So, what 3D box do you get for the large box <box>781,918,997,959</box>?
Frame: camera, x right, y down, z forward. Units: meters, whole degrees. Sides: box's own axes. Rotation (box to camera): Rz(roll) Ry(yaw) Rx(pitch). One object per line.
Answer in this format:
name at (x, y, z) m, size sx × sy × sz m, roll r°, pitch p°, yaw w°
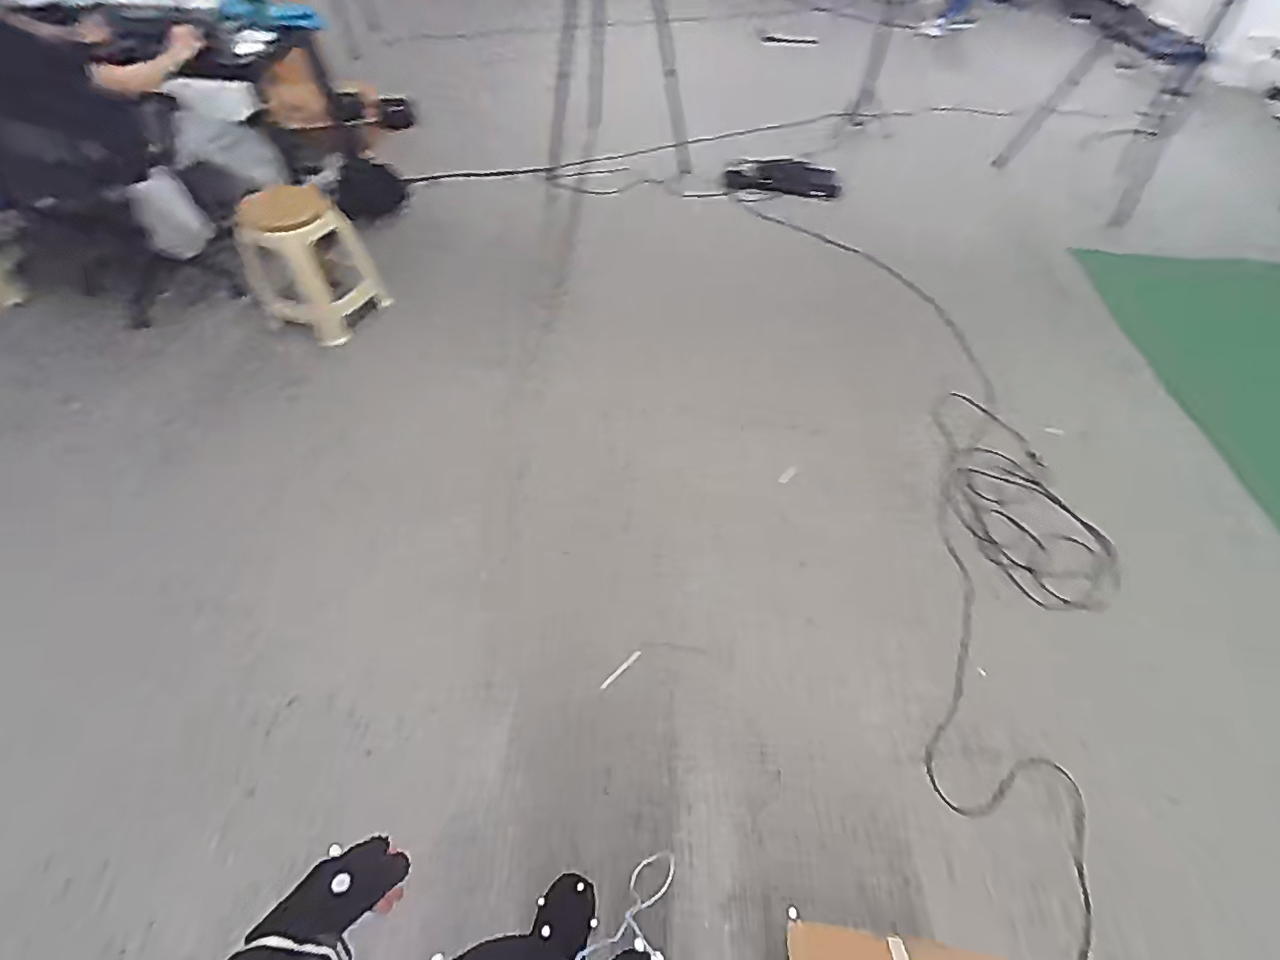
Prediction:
large box at (0.338, 0.837, 0.628) m, size 0.320 × 0.408 × 0.320 m, roll 3°, pitch 89°, yaw 10°
